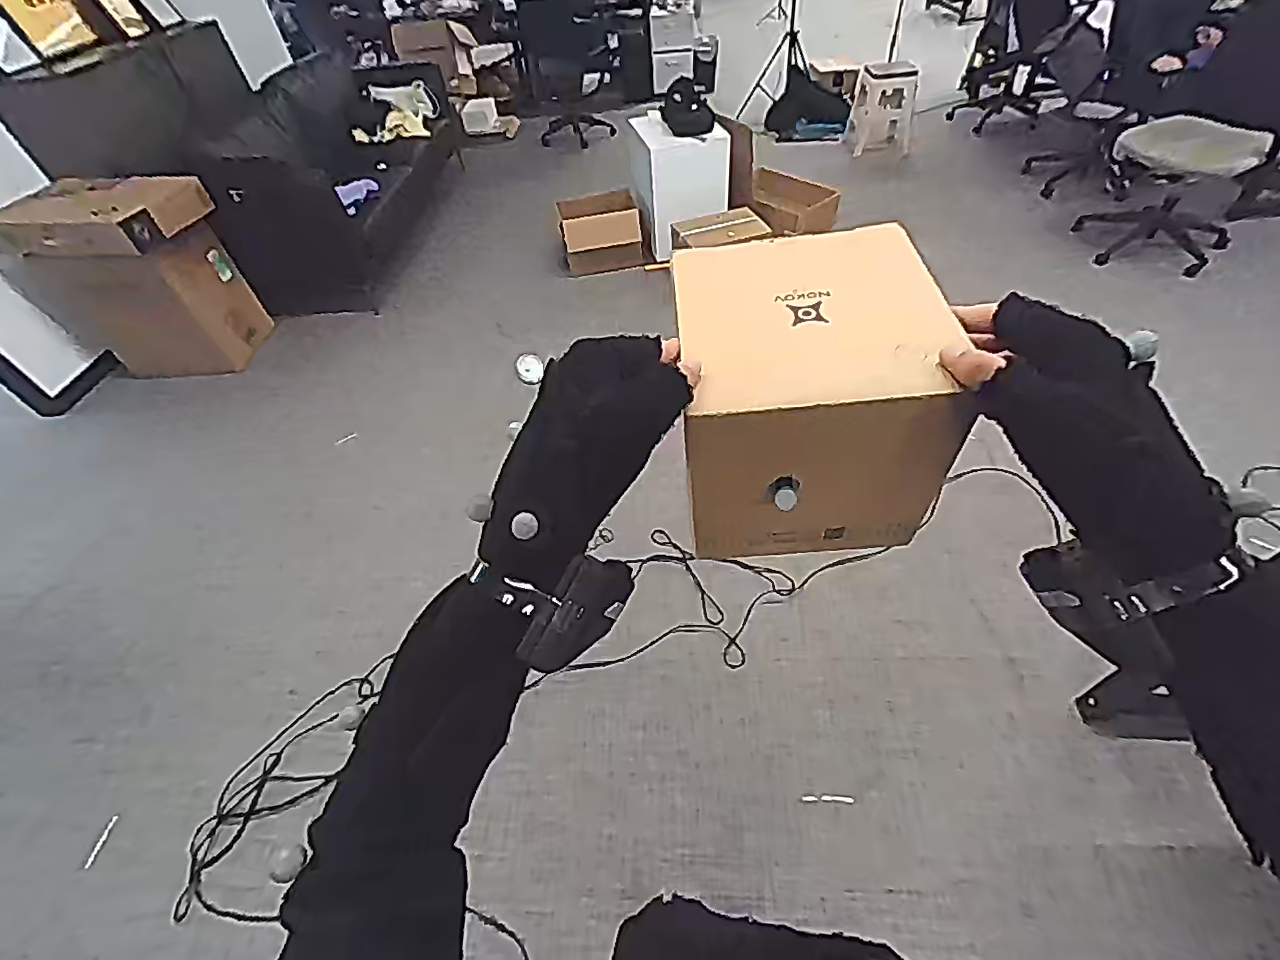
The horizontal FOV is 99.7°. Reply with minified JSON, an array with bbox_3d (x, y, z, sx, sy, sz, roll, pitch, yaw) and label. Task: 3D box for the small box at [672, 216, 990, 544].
[{"bbox_3d":[0.115,-0.063,0.403,0.168,0.176,0.179,-5,52,5],"label":"small box"}]
